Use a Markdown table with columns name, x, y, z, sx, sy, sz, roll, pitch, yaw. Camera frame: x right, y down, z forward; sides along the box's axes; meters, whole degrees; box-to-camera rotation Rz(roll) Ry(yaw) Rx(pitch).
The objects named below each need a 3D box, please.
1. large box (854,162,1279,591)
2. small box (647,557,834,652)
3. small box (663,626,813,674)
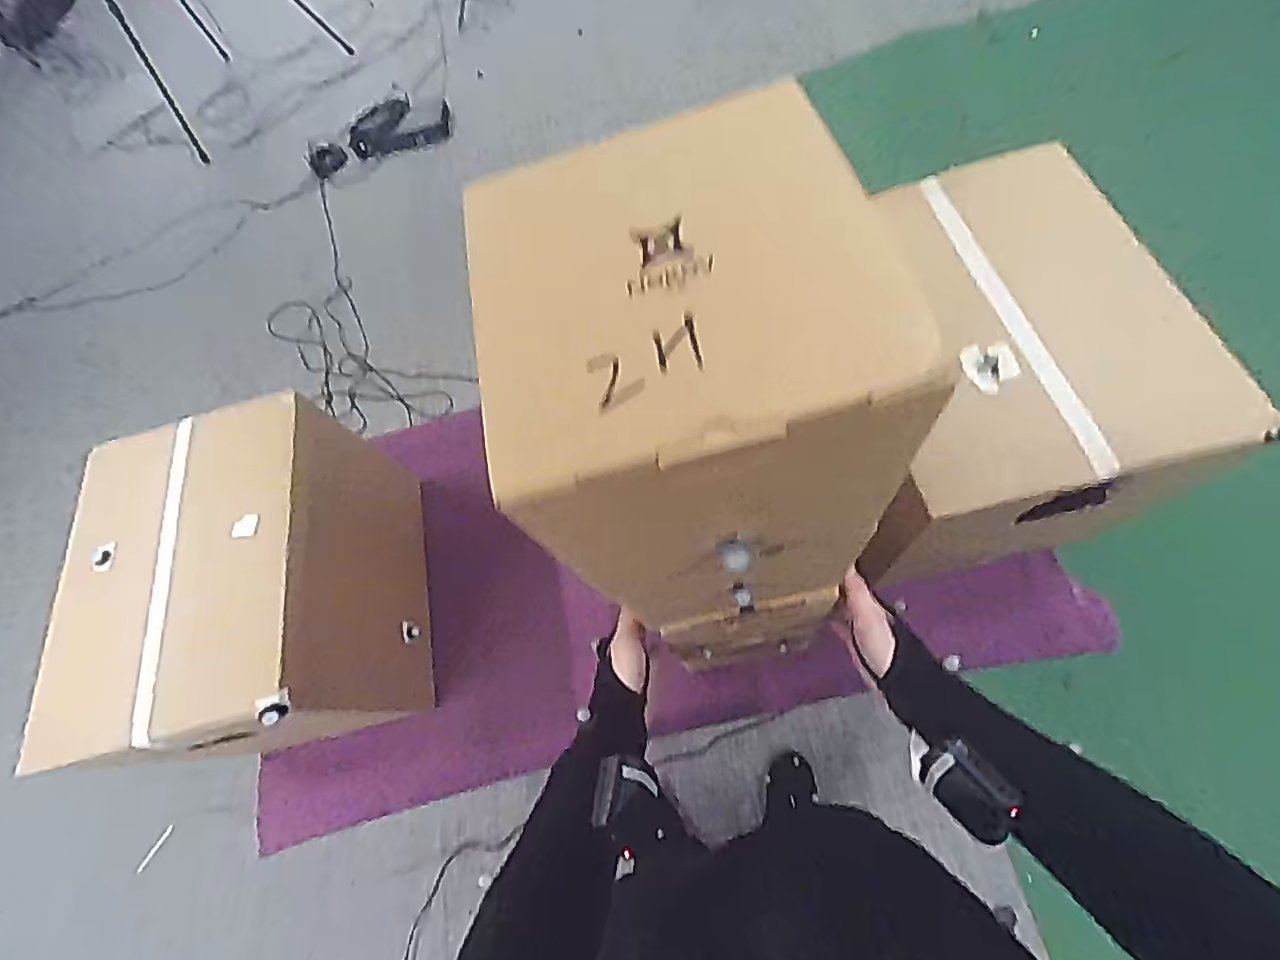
| name | x | y | z | sx | sy | sz | roll | pitch | yaw |
| --- | --- | --- | --- | --- | --- | --- | --- | --- | --- |
| large box | 0.409 | -0.109 | 0.705 | 0.320 | 0.320 | 0.408 | -15 | 65 | 6 |
| small box | 0.093 | 0.080 | 0.582 | 0.168 | 0.176 | 0.179 | -13 | 63 | 5 |
| small box | 0.118 | 0.156 | 0.727 | 0.179 | 0.176 | 0.168 | -13 | 64 | 5 |
